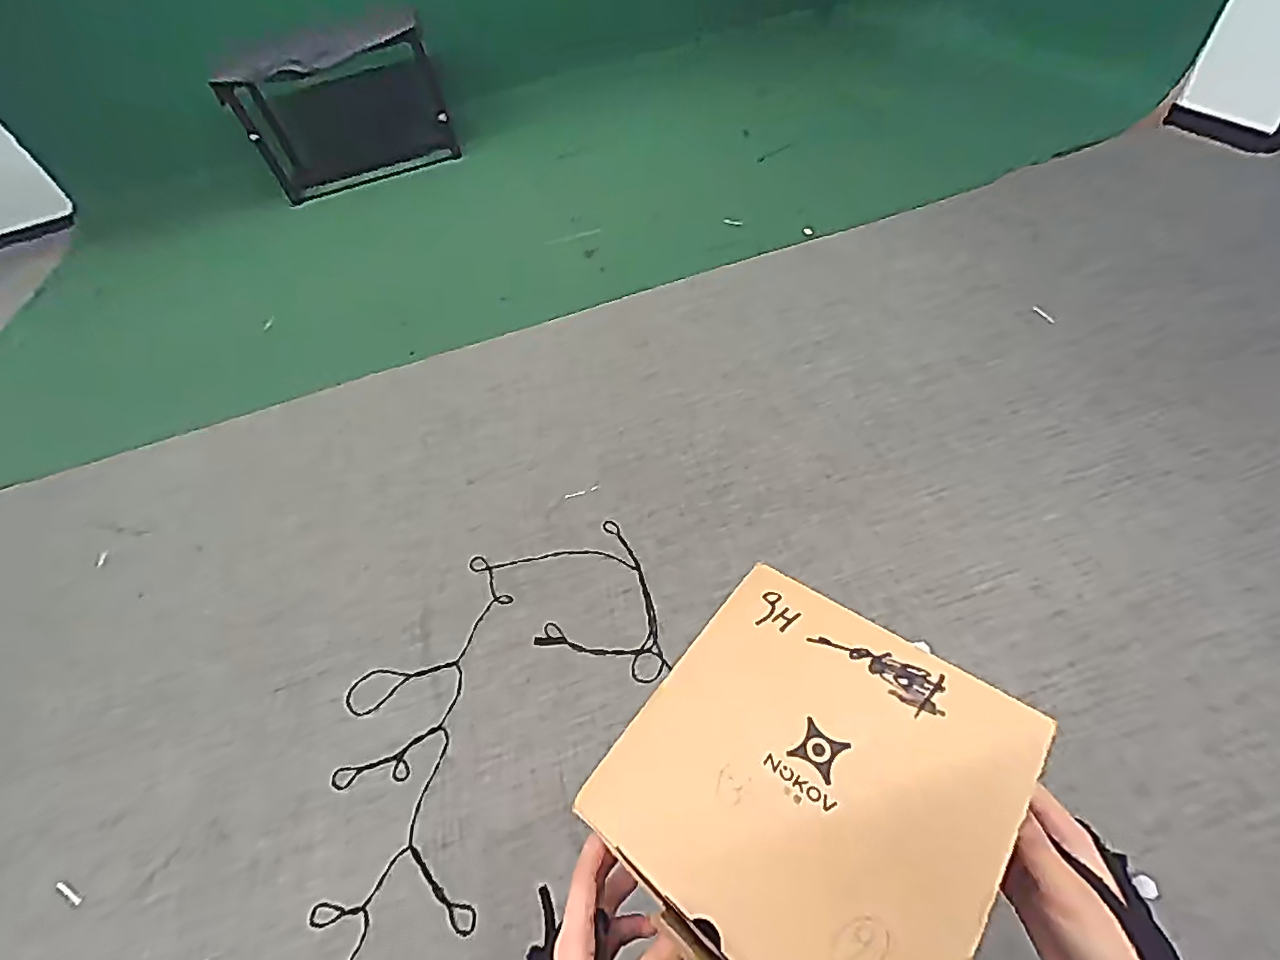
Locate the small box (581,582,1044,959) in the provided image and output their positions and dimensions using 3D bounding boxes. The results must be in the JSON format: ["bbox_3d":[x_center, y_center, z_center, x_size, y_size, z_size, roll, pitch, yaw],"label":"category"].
[{"bbox_3d":[0.097,0.204,0.327,0.168,0.176,0.179,27,59,32],"label":"small box"}]
